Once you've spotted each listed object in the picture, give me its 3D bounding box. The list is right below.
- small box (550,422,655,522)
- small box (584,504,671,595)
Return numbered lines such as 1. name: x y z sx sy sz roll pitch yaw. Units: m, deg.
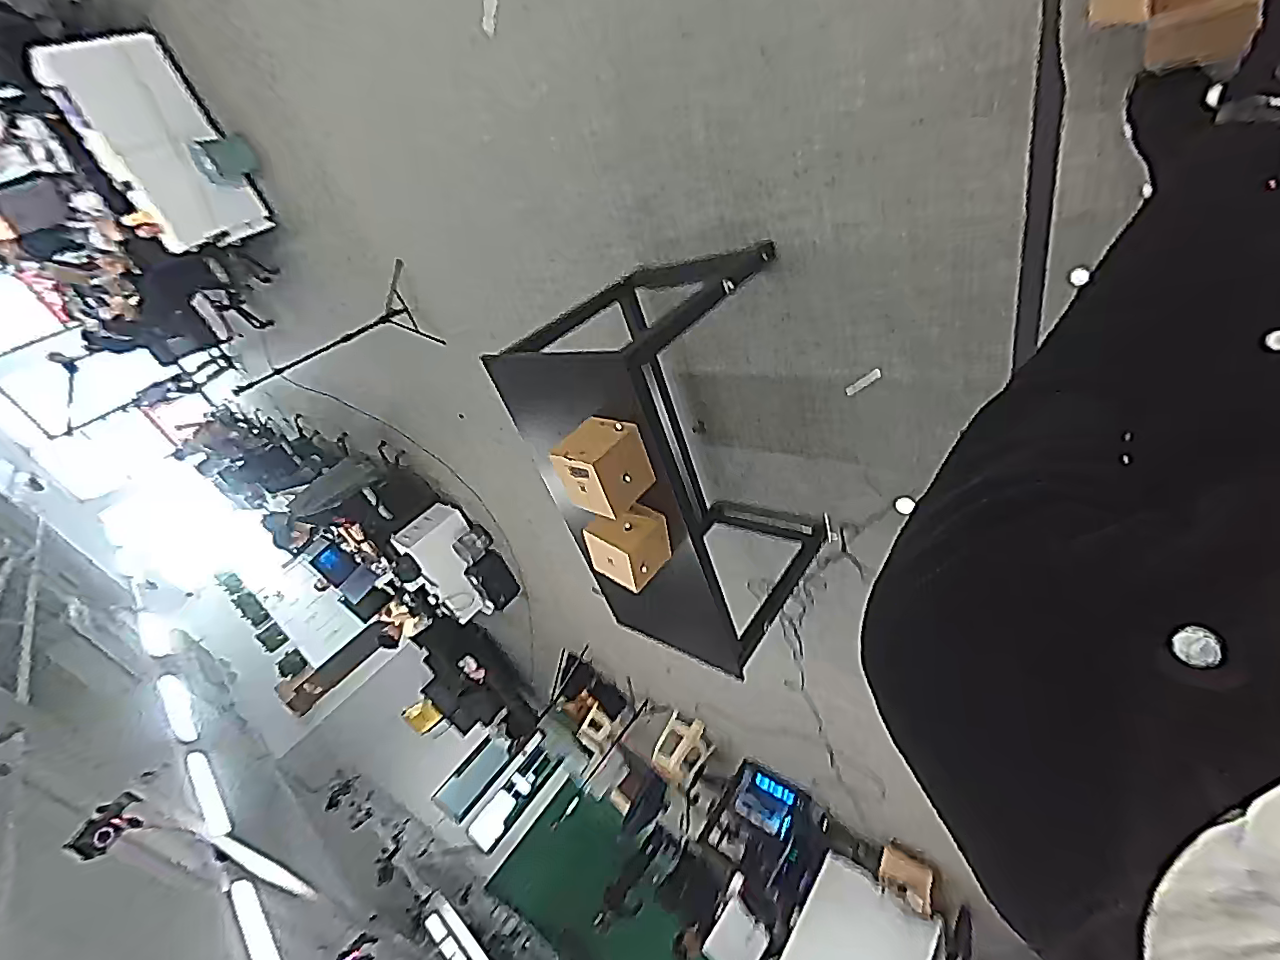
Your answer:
1. small box: -0.090 -0.028 1.363 0.168 0.176 0.179 15 138 41
2. small box: -0.030 0.185 1.536 0.168 0.176 0.179 24 143 33
